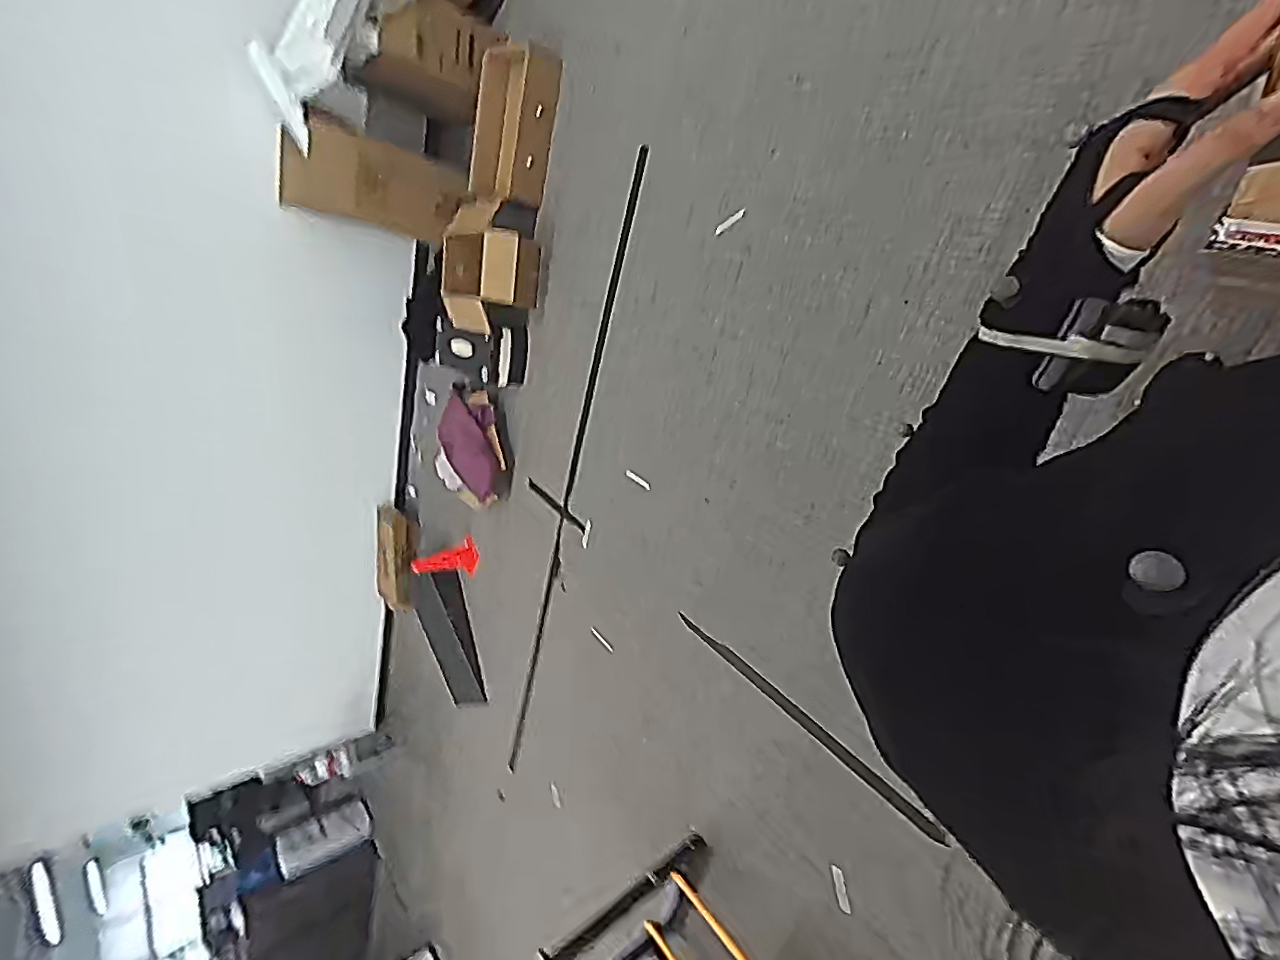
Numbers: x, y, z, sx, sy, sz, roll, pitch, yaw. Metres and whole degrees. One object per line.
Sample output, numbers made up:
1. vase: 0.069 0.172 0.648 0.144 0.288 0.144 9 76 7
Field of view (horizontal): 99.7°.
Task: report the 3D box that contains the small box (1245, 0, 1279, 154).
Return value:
1. small box: 0.412 -0.275 0.242 0.168 0.176 0.179 9 111 42
